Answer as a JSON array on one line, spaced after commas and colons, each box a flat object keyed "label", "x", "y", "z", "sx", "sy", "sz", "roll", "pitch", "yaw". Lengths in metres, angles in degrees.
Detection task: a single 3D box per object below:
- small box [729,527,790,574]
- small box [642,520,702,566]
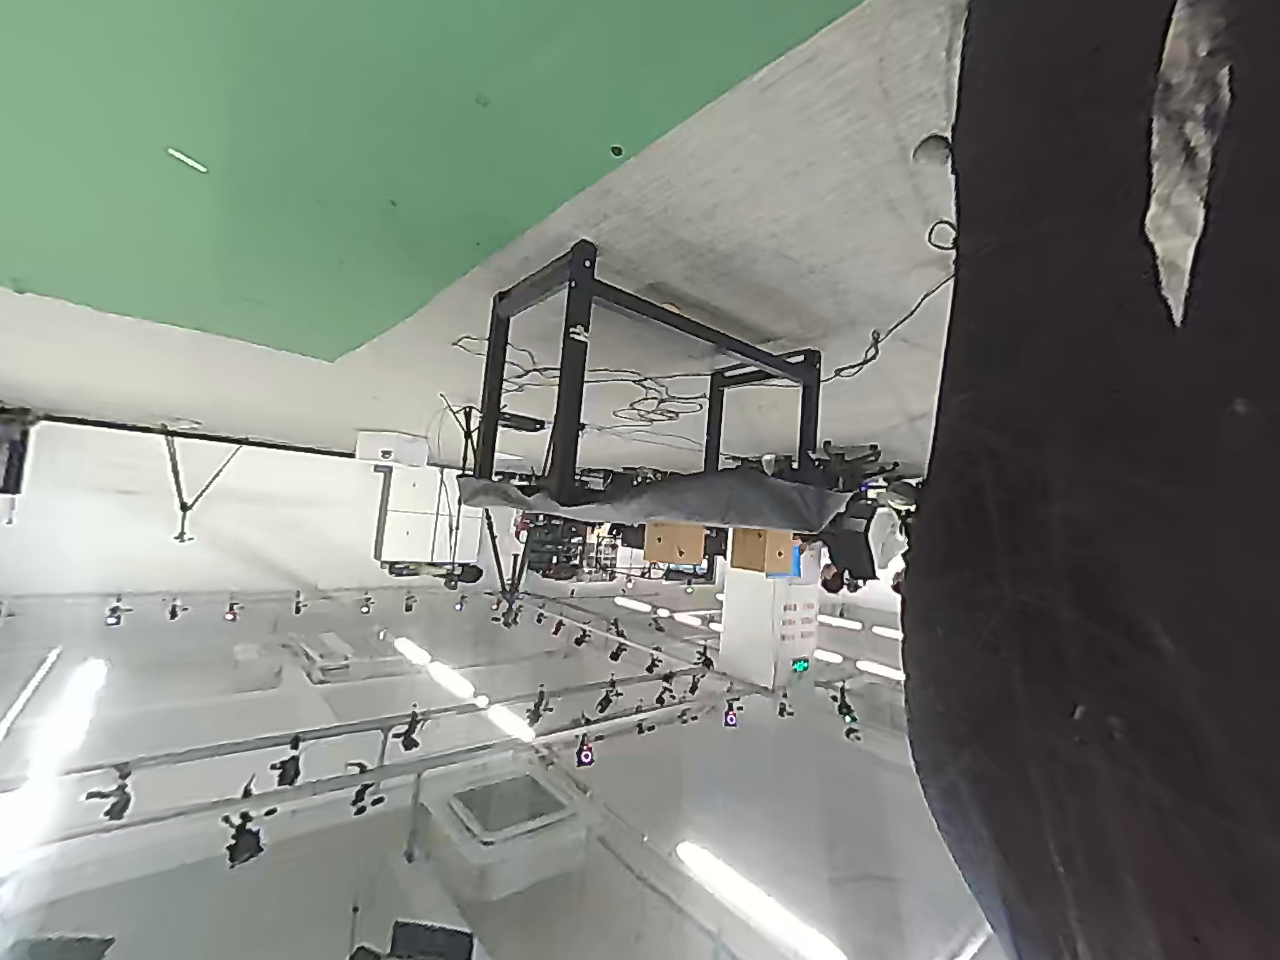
[{"label": "small box", "x": 0.472, "y": 0.275, "z": 2.125, "sx": 0.179, "sy": 0.176, "sz": 0.168, "roll": 9, "pitch": 175, "yaw": -40}, {"label": "small box", "x": 0.128, "y": 0.247, "z": 2.143, "sx": 0.179, "sy": 0.176, "sz": 0.168, "roll": 9, "pitch": 173, "yaw": -42}]
